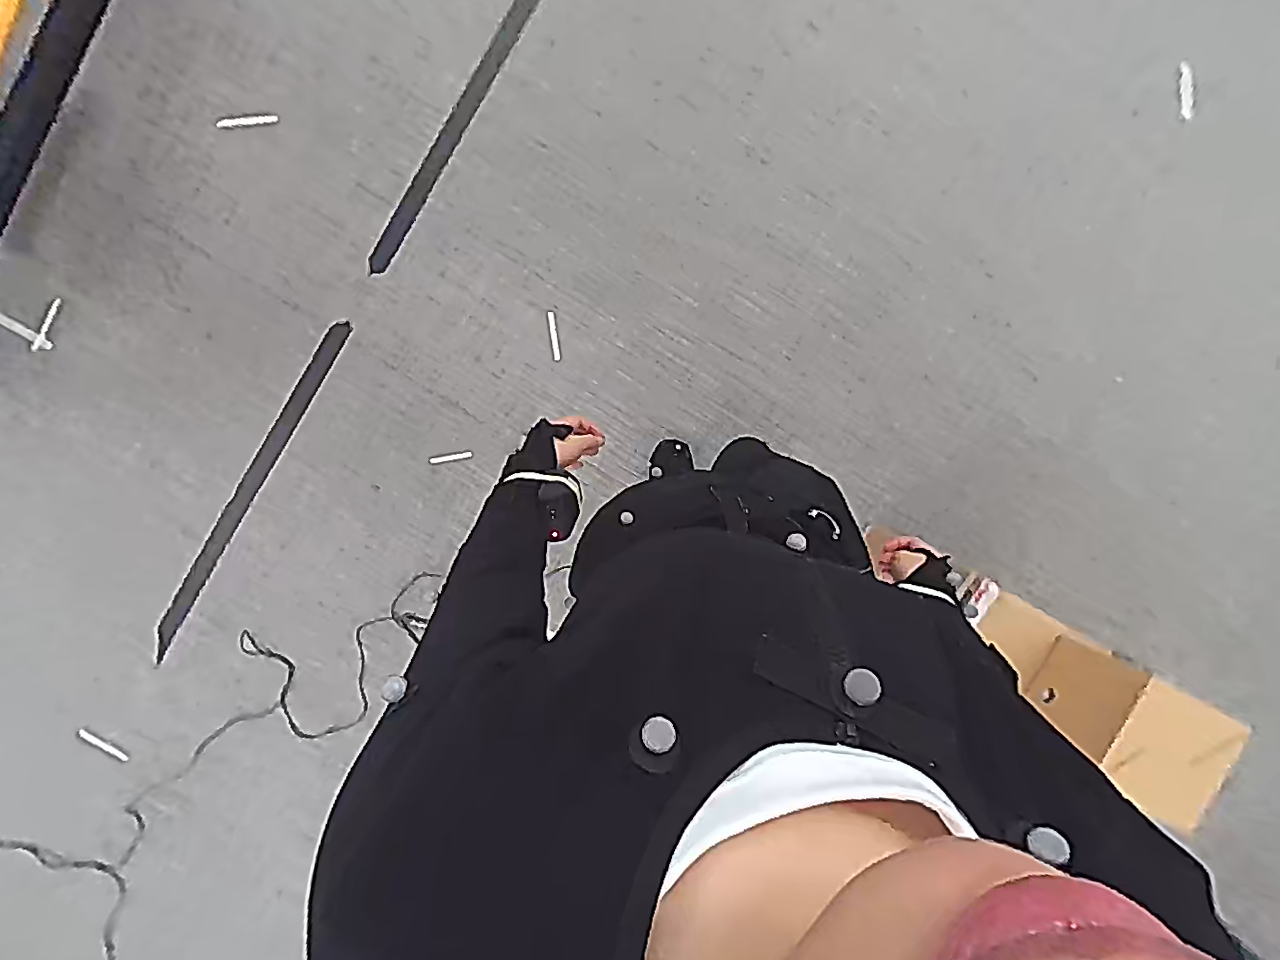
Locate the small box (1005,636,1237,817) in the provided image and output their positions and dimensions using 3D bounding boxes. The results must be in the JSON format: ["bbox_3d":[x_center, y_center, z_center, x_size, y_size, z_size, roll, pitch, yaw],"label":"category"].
[{"bbox_3d":[0.729,0.378,0.835,0.168,0.176,0.179,29,93,-2],"label":"small box"}]
